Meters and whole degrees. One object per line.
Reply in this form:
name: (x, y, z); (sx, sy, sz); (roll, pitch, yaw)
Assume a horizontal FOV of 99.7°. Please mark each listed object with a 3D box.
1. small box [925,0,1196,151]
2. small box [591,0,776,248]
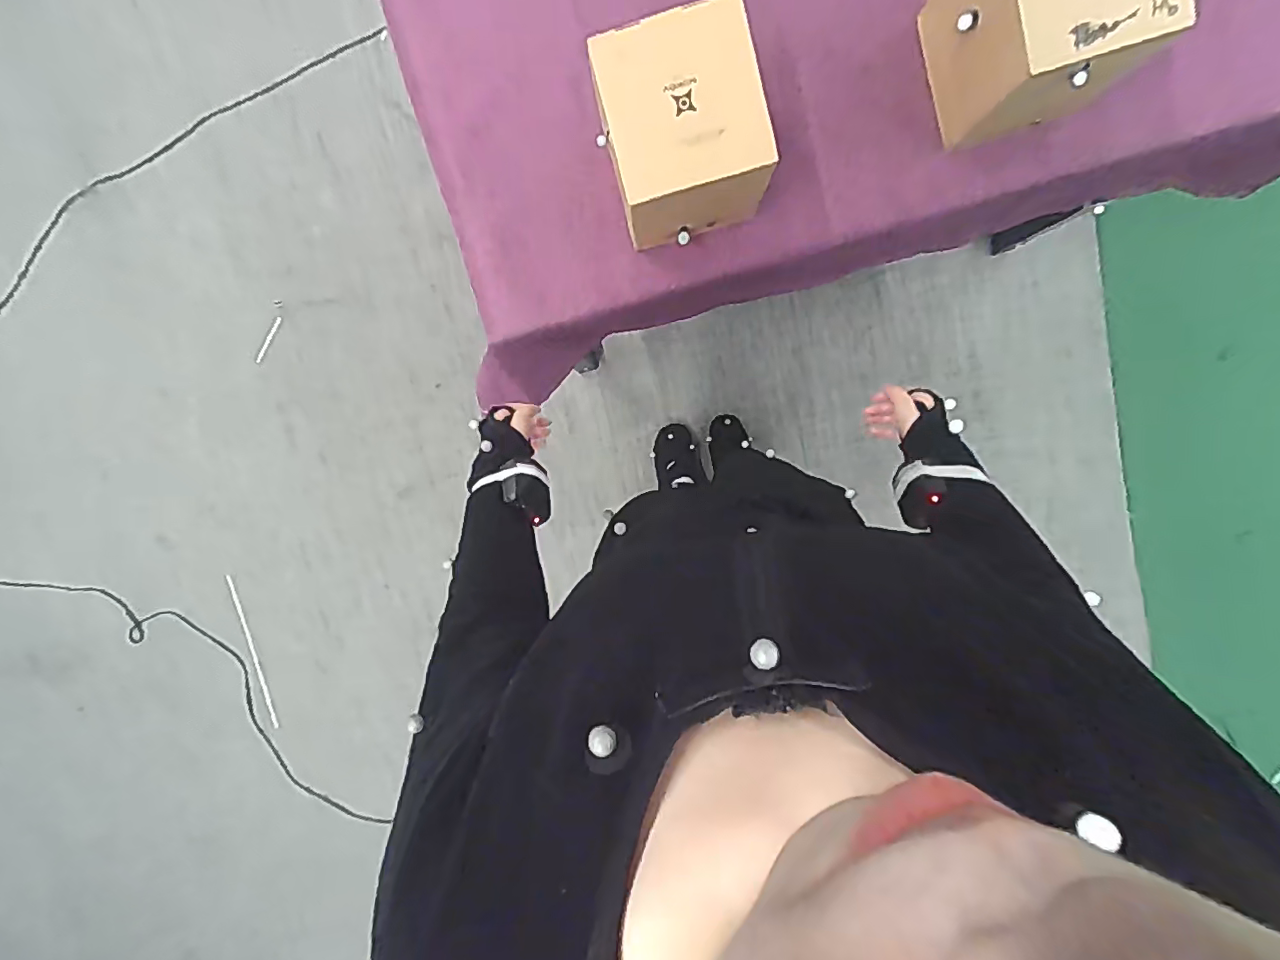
small box: (0.452, -0.519, 0.612); (0.168, 0.176, 0.179); (-15, 95, 5)
small box: (0.048, -0.406, 0.644); (0.168, 0.176, 0.179); (-14, 96, 4)
